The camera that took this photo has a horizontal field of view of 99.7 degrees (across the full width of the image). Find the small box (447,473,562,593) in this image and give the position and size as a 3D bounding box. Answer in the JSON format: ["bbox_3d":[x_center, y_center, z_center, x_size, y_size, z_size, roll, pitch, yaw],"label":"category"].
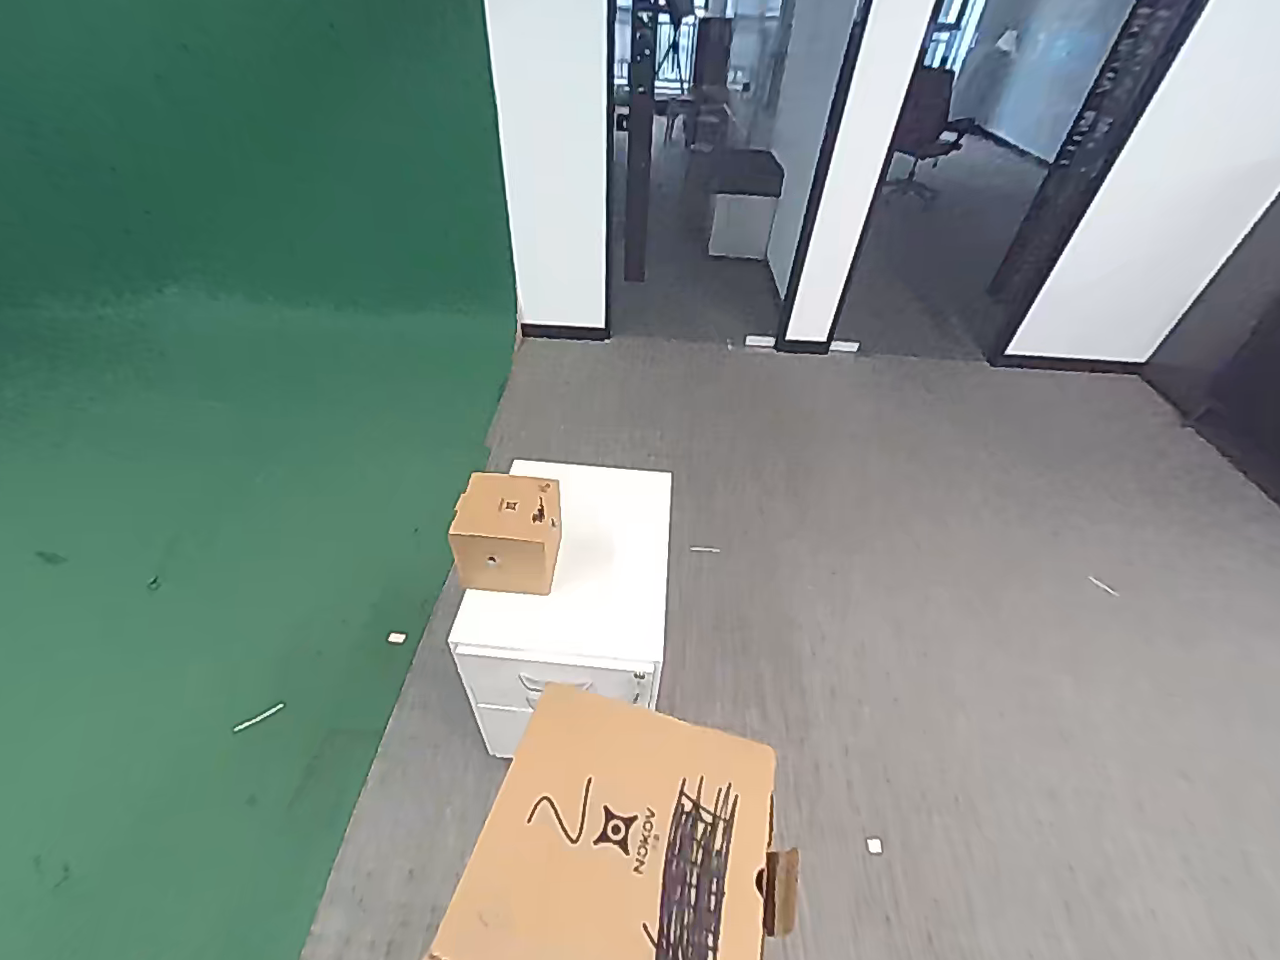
[{"bbox_3d":[-0.256,0.107,1.066,0.179,0.176,0.168,5,44,-1],"label":"small box"}]
